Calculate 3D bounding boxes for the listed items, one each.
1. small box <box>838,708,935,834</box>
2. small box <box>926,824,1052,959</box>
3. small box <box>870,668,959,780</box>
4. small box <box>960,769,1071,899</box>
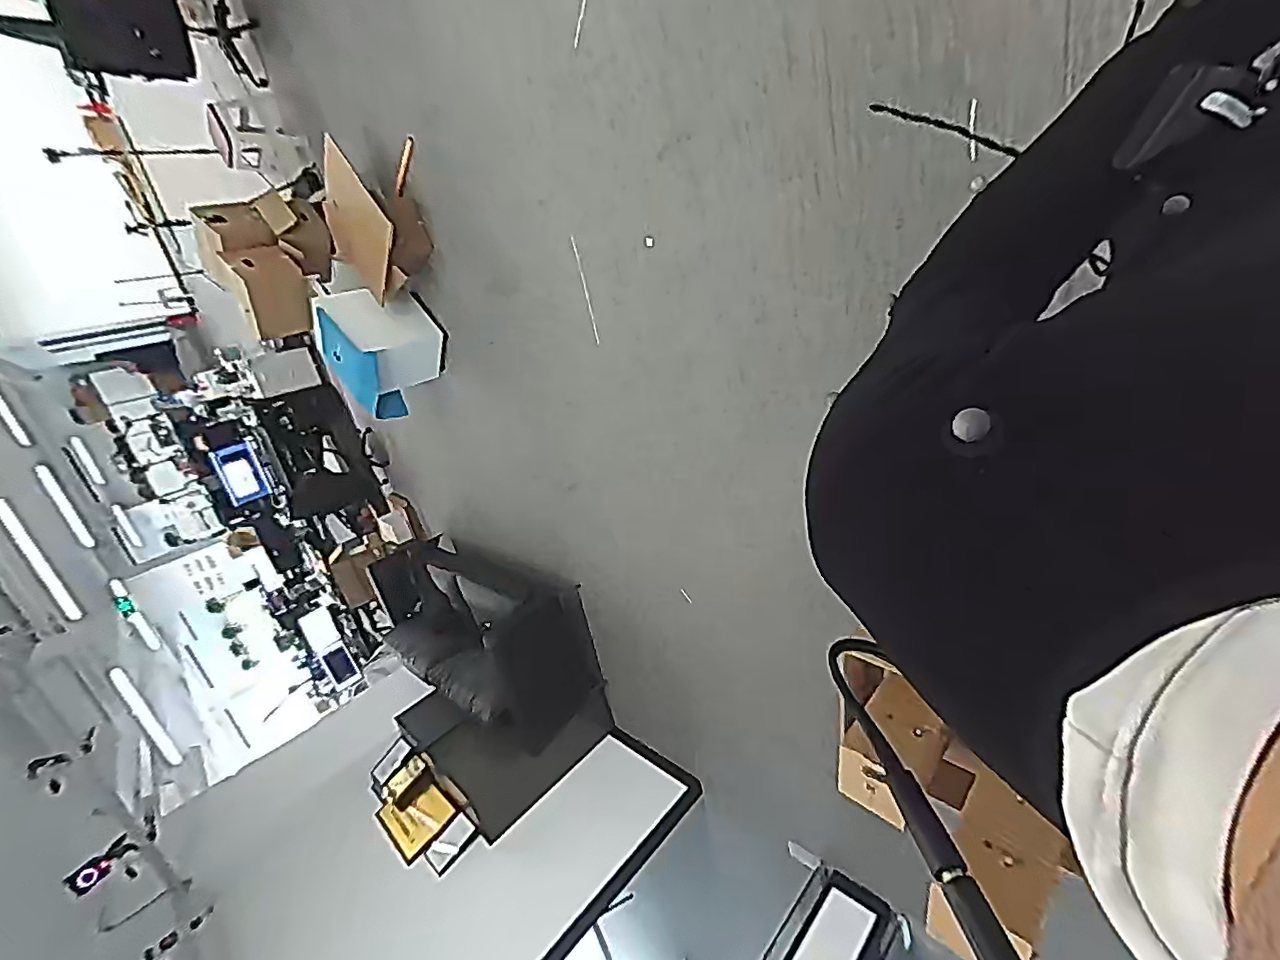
[{"bbox_3d":[0.606,0.703,1.329,0.168,0.176,0.179,17,125,43],"label":"small box"},{"bbox_3d":[0.680,0.832,1.056,0.168,0.176,0.179,15,123,43],"label":"small box"},{"bbox_3d":[0.721,0.640,1.428,0.168,0.176,0.179,16,123,43],"label":"small box"},{"bbox_3d":[0.794,0.770,1.154,0.168,0.176,0.179,14,123,43],"label":"small box"}]
